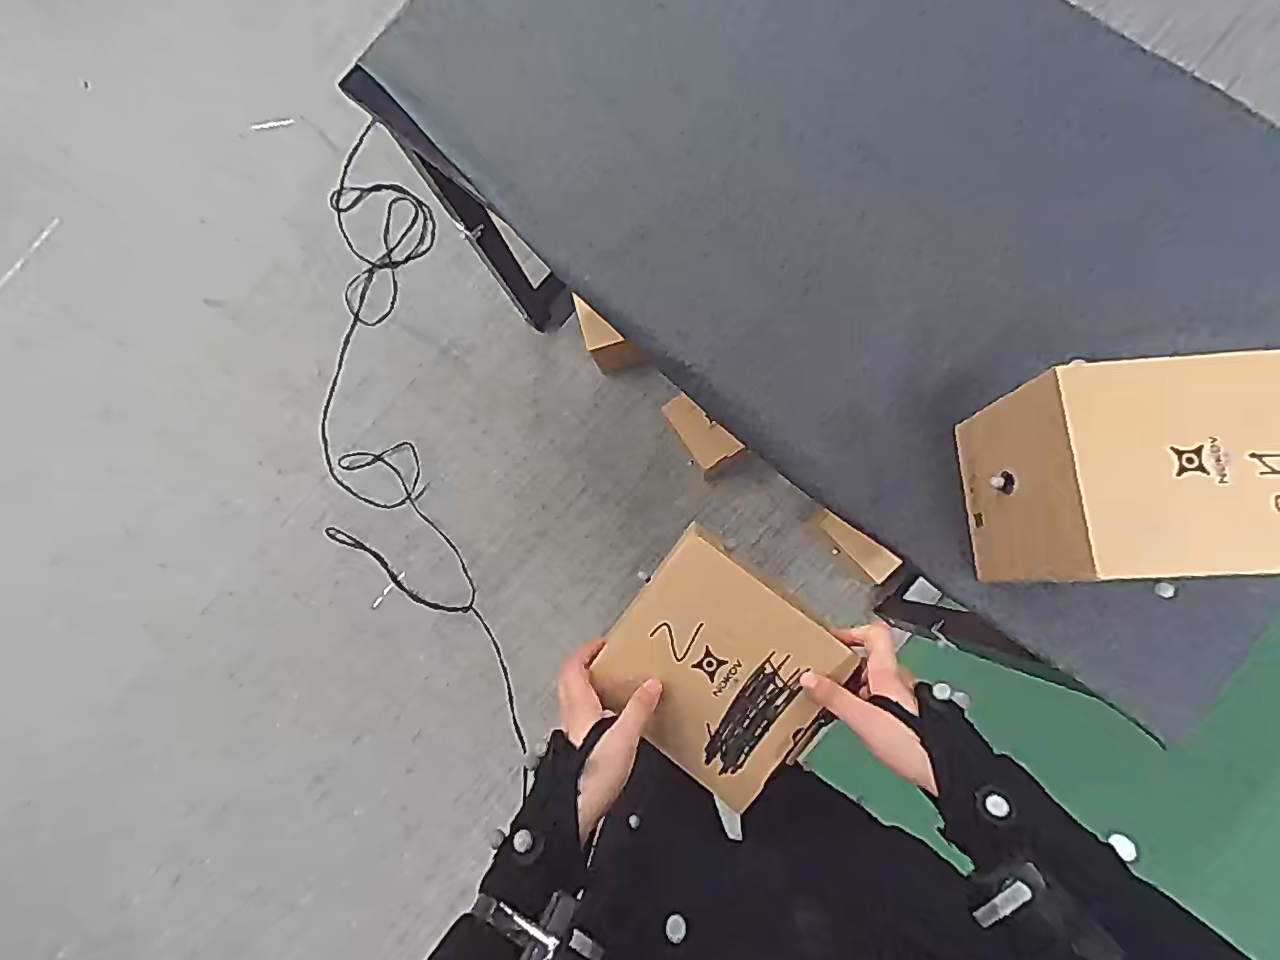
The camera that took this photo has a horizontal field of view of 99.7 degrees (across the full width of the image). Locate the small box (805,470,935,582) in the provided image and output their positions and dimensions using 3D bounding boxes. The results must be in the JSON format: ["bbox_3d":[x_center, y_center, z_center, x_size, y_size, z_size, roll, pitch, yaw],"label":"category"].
[{"bbox_3d":[0.491,0.105,1.188,0.168,0.176,0.179,-43,81,-1],"label":"small box"}]

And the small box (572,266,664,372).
[{"bbox_3d":[-0.047,-0.382,1.312,0.179,0.176,0.168,-16,81,3],"label":"small box"}]

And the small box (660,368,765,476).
[{"bbox_3d":[0.166,-0.123,1.253,0.168,0.176,0.179,-34,79,-1],"label":"small box"}]

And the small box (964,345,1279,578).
[{"bbox_3d":[0.409,-0.001,0.468,0.179,0.176,0.168,-3,79,5],"label":"small box"}]
